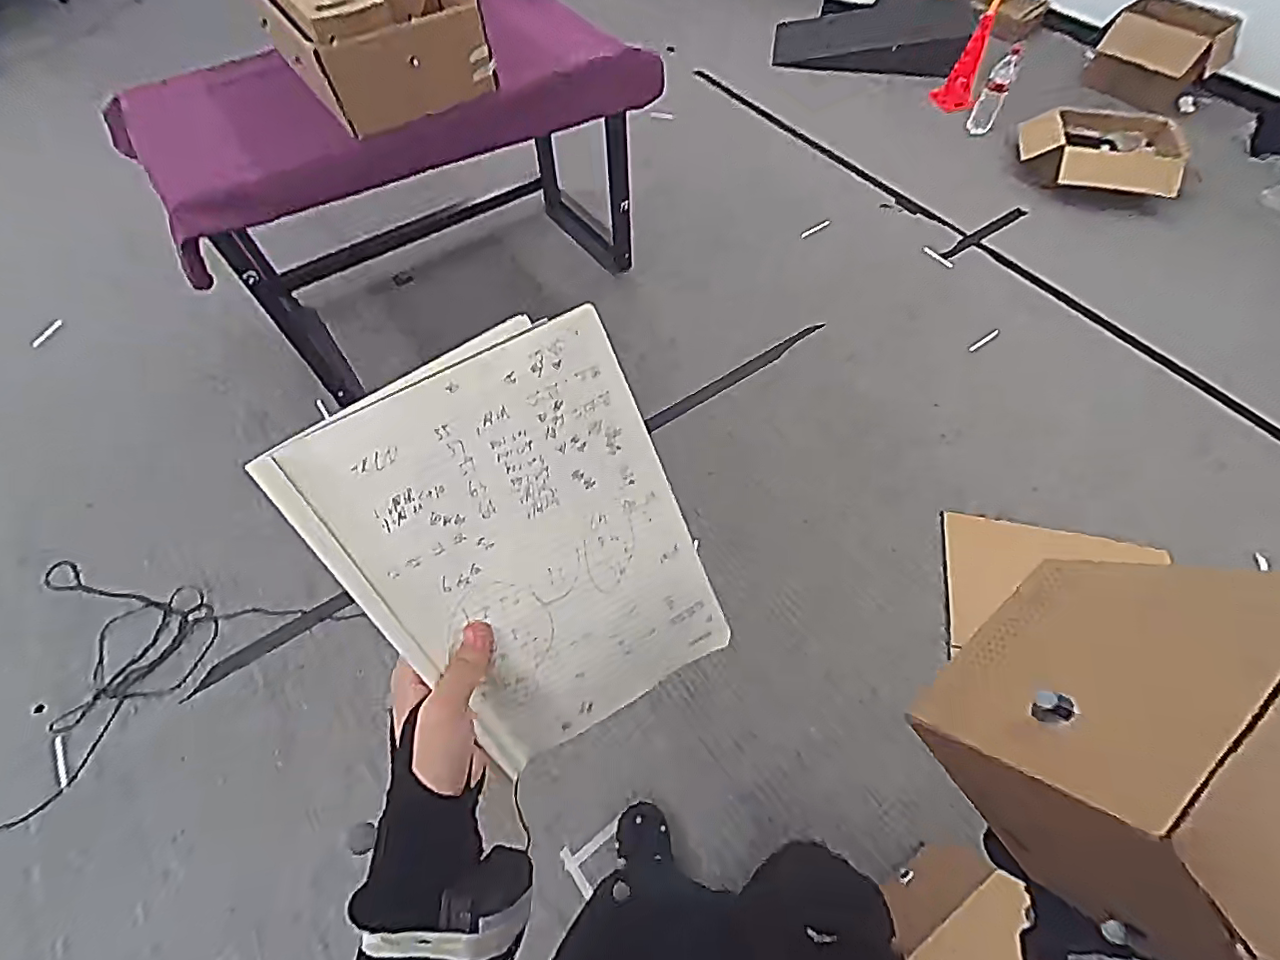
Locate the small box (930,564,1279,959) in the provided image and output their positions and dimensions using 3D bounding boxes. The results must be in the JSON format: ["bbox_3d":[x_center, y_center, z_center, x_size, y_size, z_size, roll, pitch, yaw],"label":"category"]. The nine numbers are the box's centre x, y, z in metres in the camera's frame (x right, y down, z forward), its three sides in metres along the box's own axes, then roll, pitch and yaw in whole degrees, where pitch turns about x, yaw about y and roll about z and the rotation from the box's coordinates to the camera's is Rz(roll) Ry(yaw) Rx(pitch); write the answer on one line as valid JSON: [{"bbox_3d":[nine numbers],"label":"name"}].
[{"bbox_3d":[0.317,0.170,0.328,0.179,0.176,0.168,-40,95,-13],"label":"small box"}]
